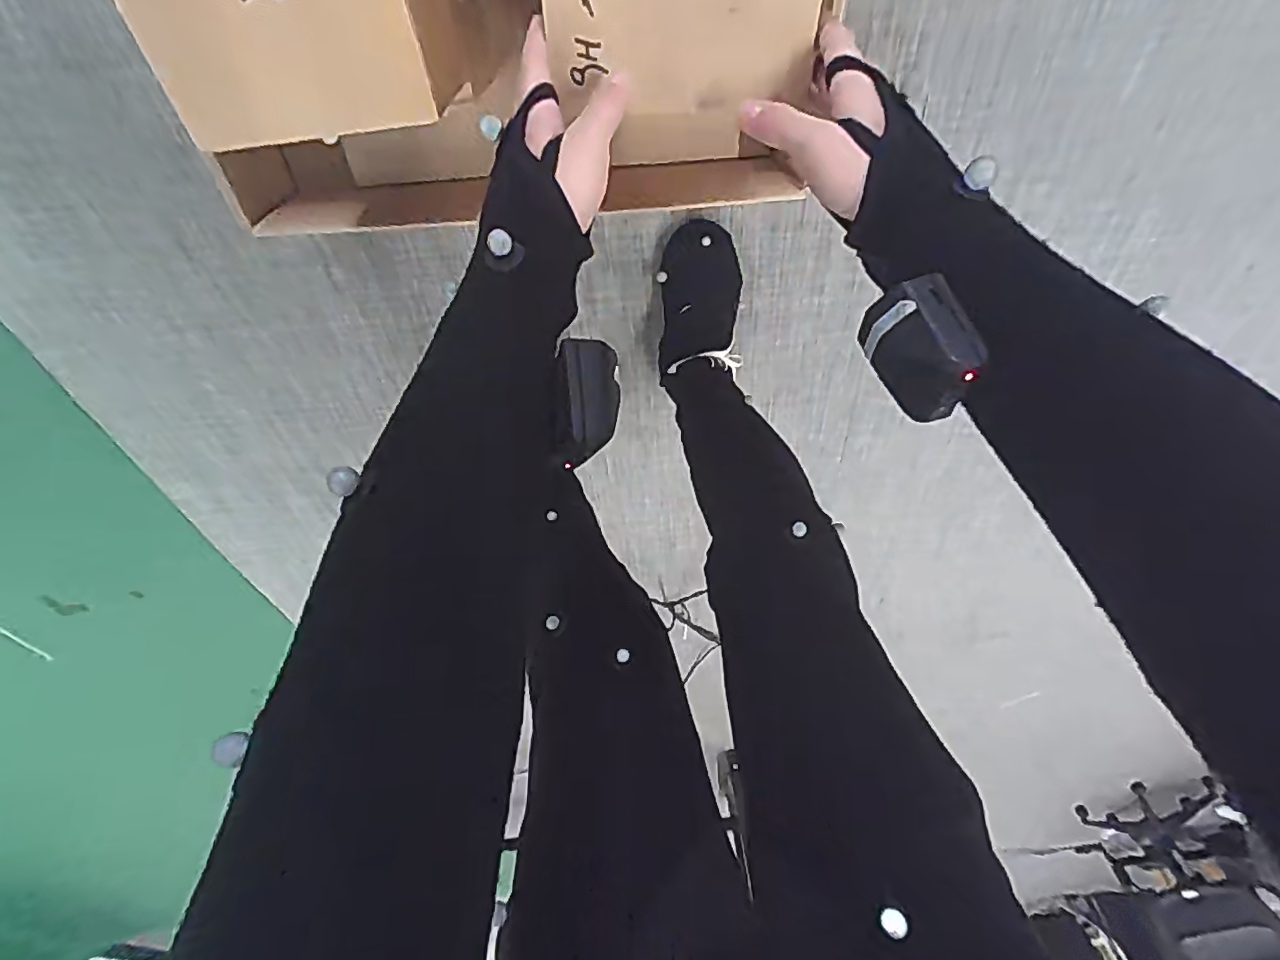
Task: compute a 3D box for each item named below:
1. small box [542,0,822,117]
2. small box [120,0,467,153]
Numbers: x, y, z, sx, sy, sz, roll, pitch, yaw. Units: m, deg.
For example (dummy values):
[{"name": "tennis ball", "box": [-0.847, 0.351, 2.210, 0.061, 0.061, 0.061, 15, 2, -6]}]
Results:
[{"name": "small box", "box": [0.022, -0.365, 0.374, 0.179, 0.176, 0.168, -2, 132, -2]}, {"name": "small box", "box": [-0.232, -0.351, 0.373, 0.168, 0.176, 0.179, -8, 132, 0]}]
